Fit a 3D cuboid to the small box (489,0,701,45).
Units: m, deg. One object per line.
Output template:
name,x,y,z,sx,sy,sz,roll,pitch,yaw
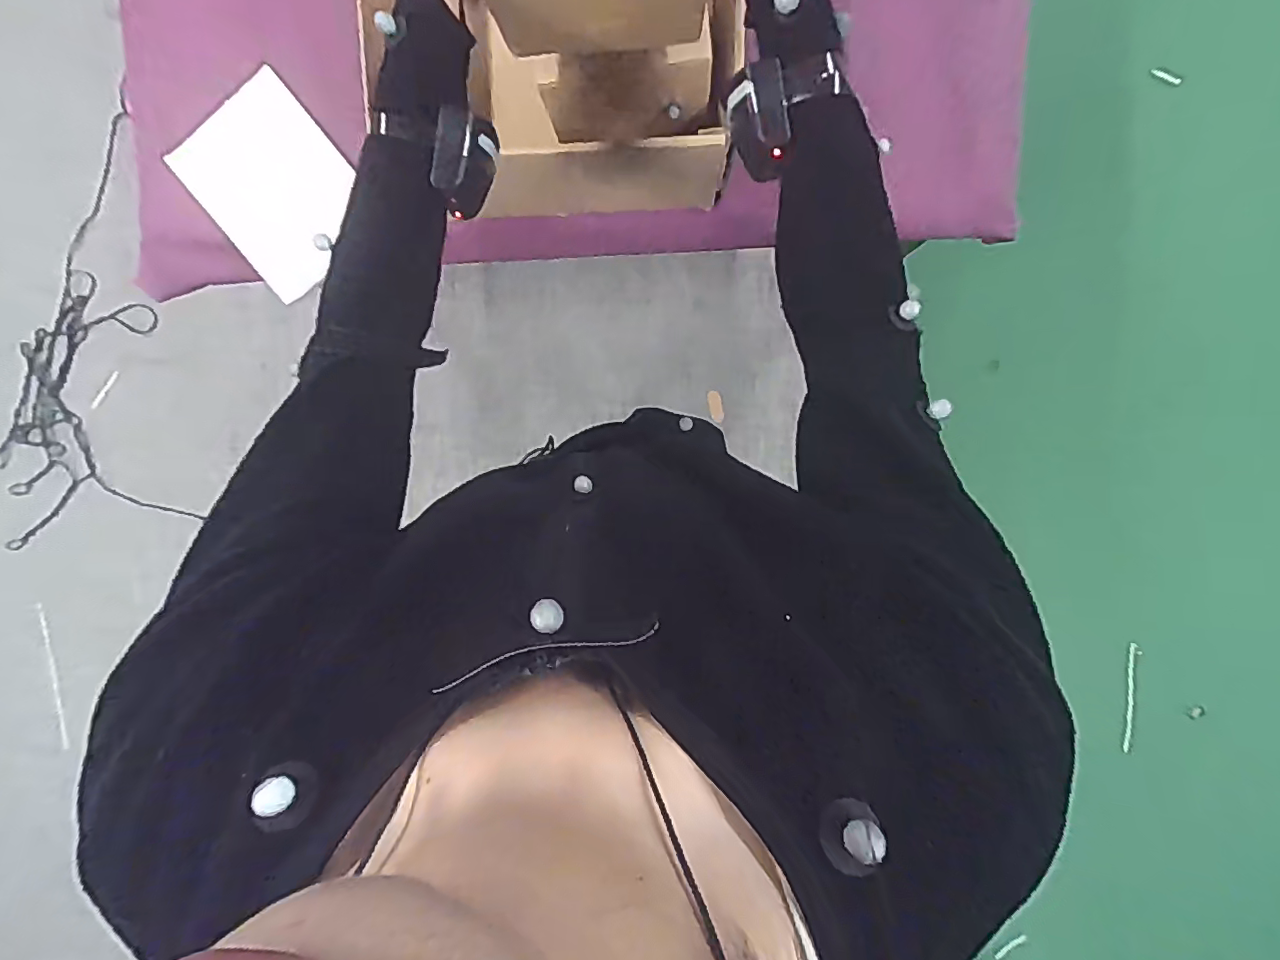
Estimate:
small box,-0.037,-0.441,0.377,0.179,0.176,0.168,-4,105,-1
